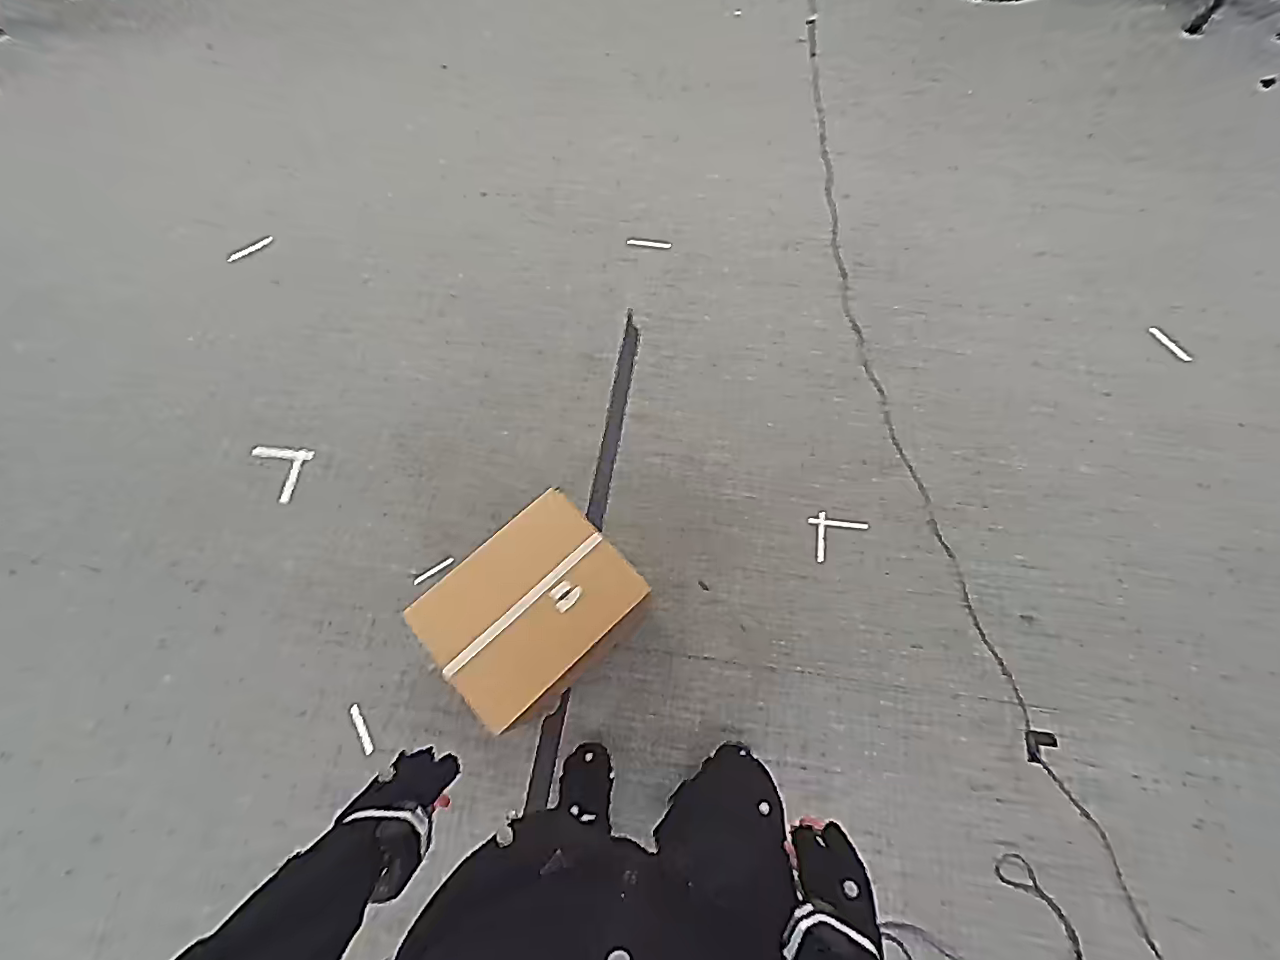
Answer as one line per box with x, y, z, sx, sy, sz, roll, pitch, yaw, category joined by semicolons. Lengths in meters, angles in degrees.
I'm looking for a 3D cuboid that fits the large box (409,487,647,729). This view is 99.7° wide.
-0.228;0.299;1.242;0.408;0.320;0.320;-41;75;-14;large box
